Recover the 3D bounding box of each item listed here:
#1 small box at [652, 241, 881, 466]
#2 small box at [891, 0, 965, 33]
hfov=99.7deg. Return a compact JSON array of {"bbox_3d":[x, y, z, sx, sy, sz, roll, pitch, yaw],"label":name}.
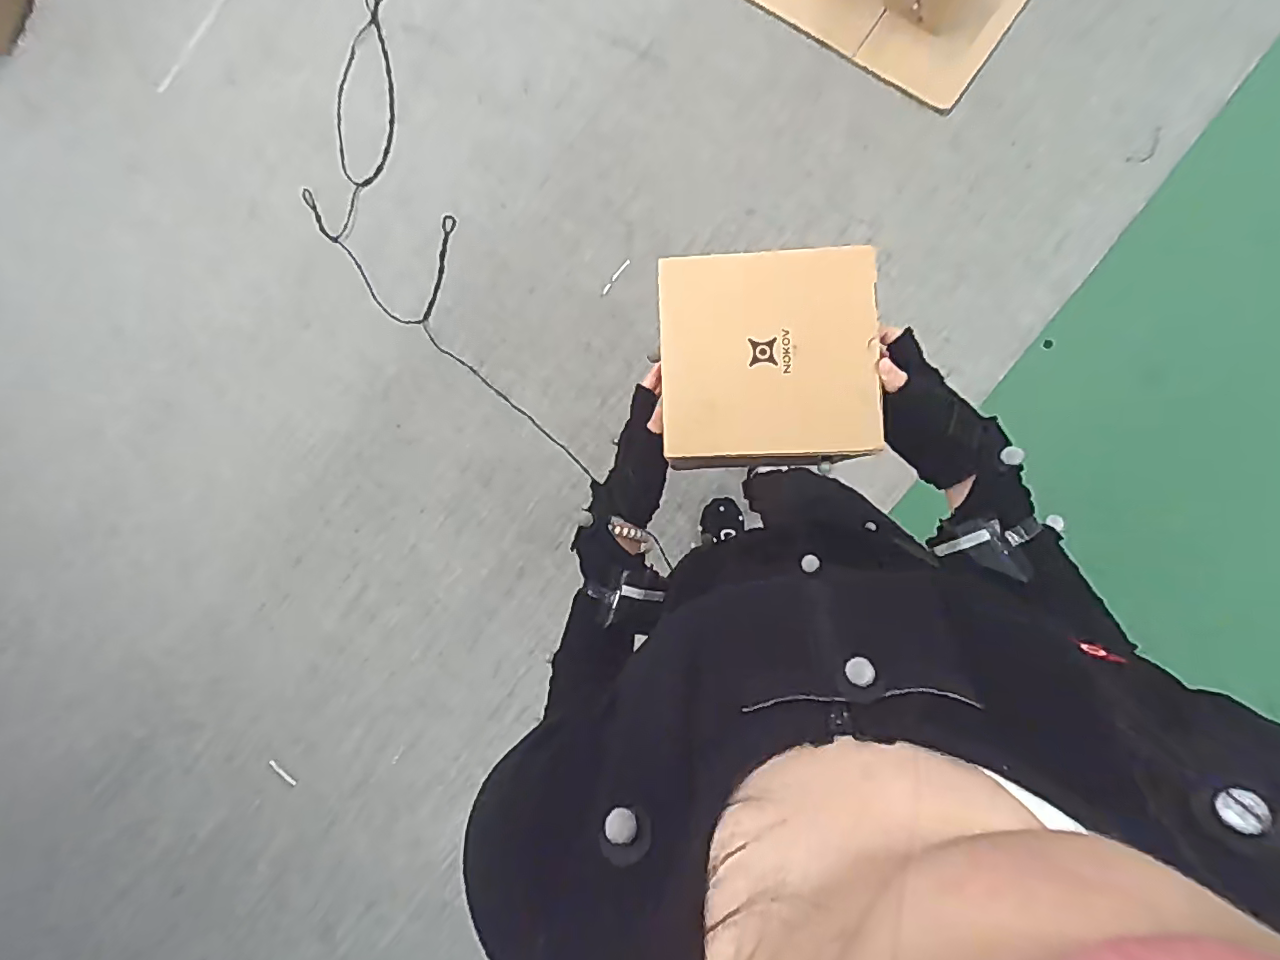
[{"bbox_3d":[0.106,-0.102,0.510,0.179,0.176,0.168,-2,88,4],"label":"small box"},{"bbox_3d":[0.766,-1.297,1.358,0.168,0.176,0.179,35,93,7],"label":"small box"}]
